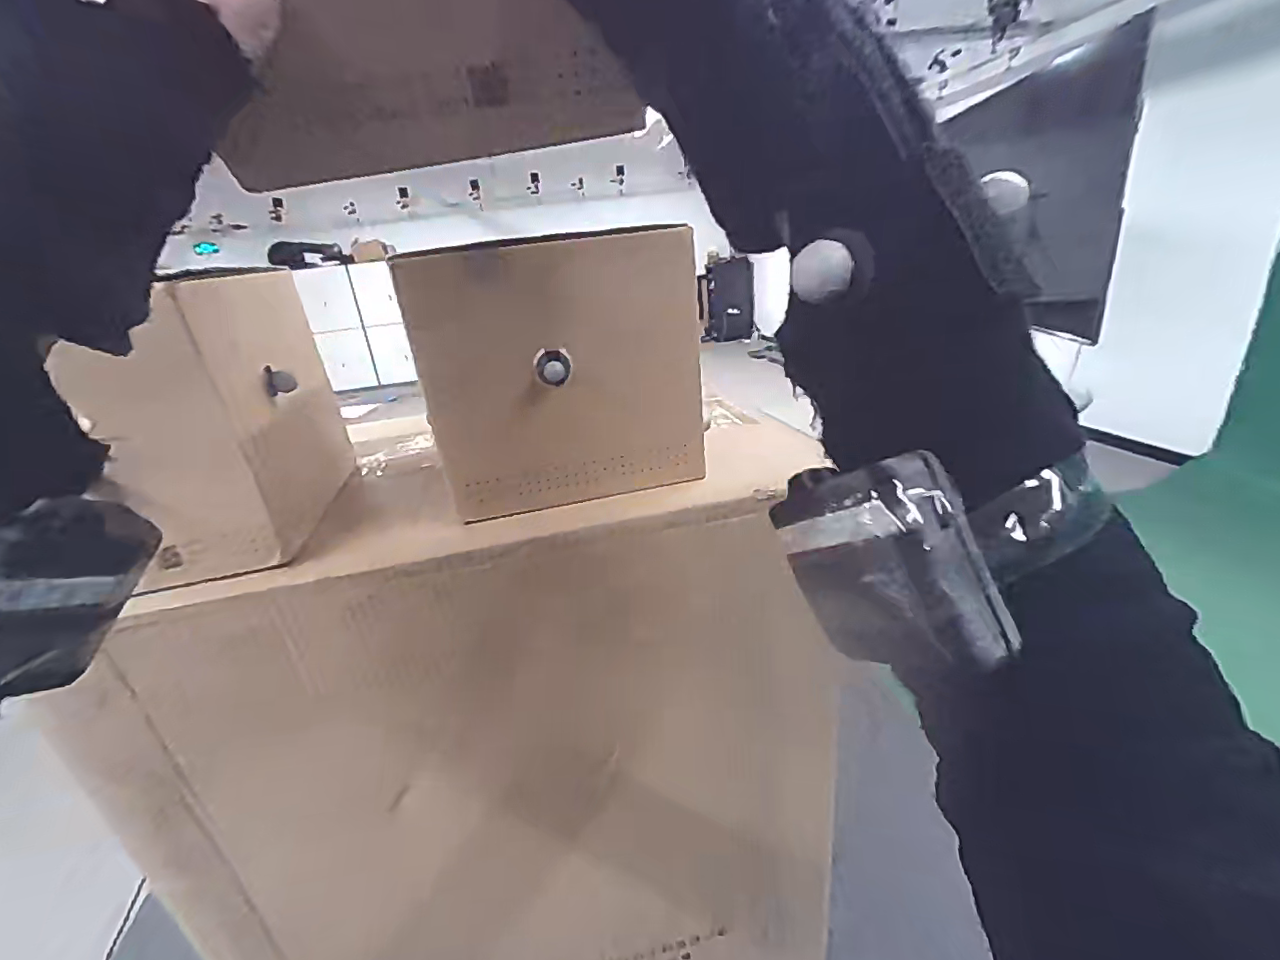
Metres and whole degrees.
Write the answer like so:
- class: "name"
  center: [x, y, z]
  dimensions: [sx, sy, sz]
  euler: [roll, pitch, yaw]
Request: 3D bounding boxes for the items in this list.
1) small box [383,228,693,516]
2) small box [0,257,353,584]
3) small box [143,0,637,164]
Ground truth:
- class: "small box"
  center: [-0.064, -0.091, 0.409]
  dimensions: [0.179, 0.176, 0.168]
  euler: [-9, 25, -8]
- class: "small box"
  center: [-0.320, -0.046, 0.365]
  dimensions: [0.168, 0.176, 0.179]
  euler: [-10, 26, -9]
- class: "small box"
  center: [-0.097, -0.242, 0.201]
  dimensions: [0.168, 0.176, 0.179]
  euler: [-11, 59, -5]
